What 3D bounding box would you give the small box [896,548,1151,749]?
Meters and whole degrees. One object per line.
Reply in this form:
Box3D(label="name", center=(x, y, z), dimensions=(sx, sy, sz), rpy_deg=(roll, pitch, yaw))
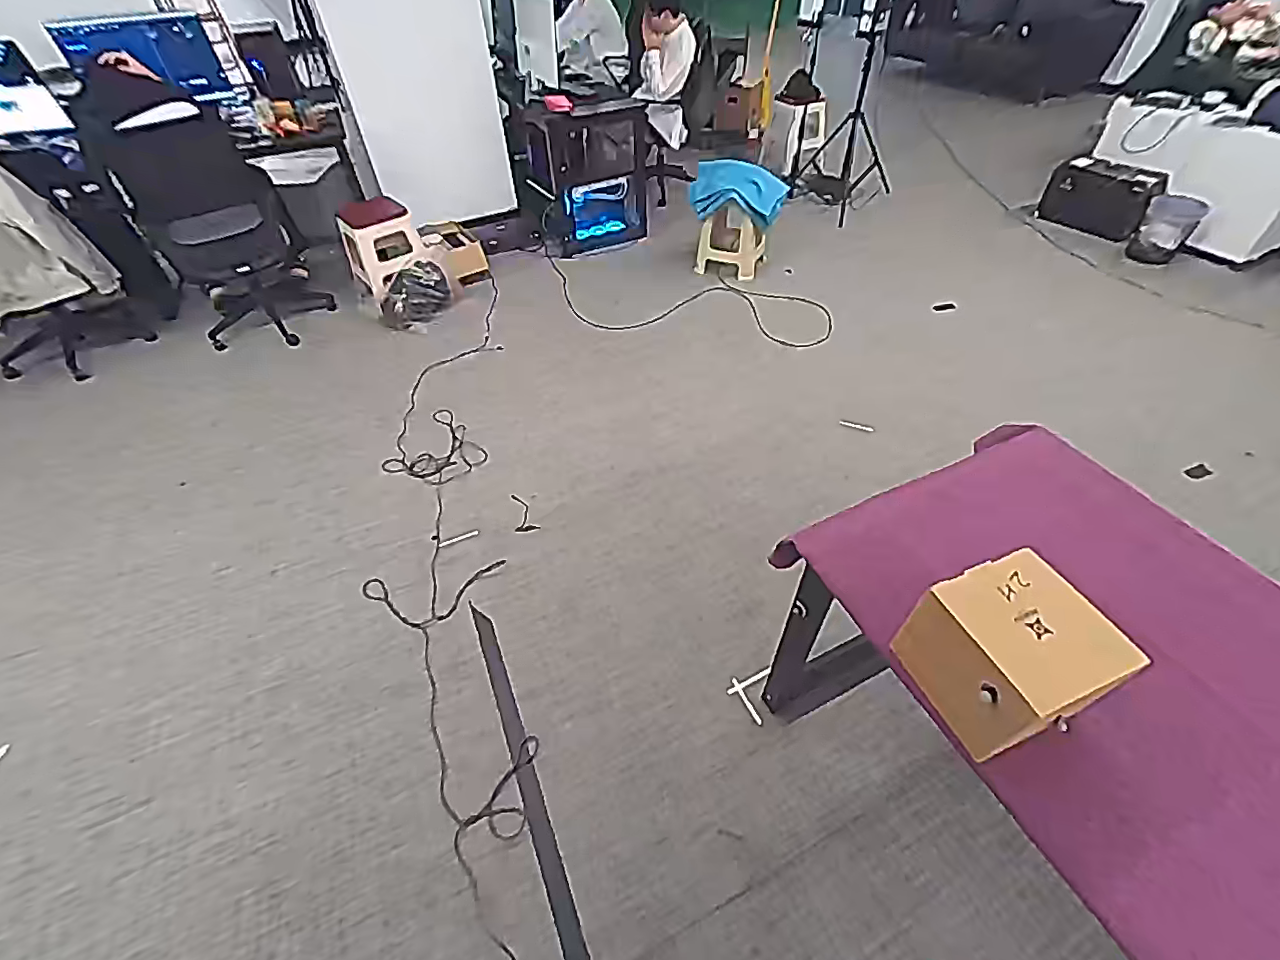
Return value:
Box3D(label="small box", center=(0.474, 0.224, 0.703), dimensions=(0.168, 0.176, 0.179), rpy_deg=(-17, 48, -13))
